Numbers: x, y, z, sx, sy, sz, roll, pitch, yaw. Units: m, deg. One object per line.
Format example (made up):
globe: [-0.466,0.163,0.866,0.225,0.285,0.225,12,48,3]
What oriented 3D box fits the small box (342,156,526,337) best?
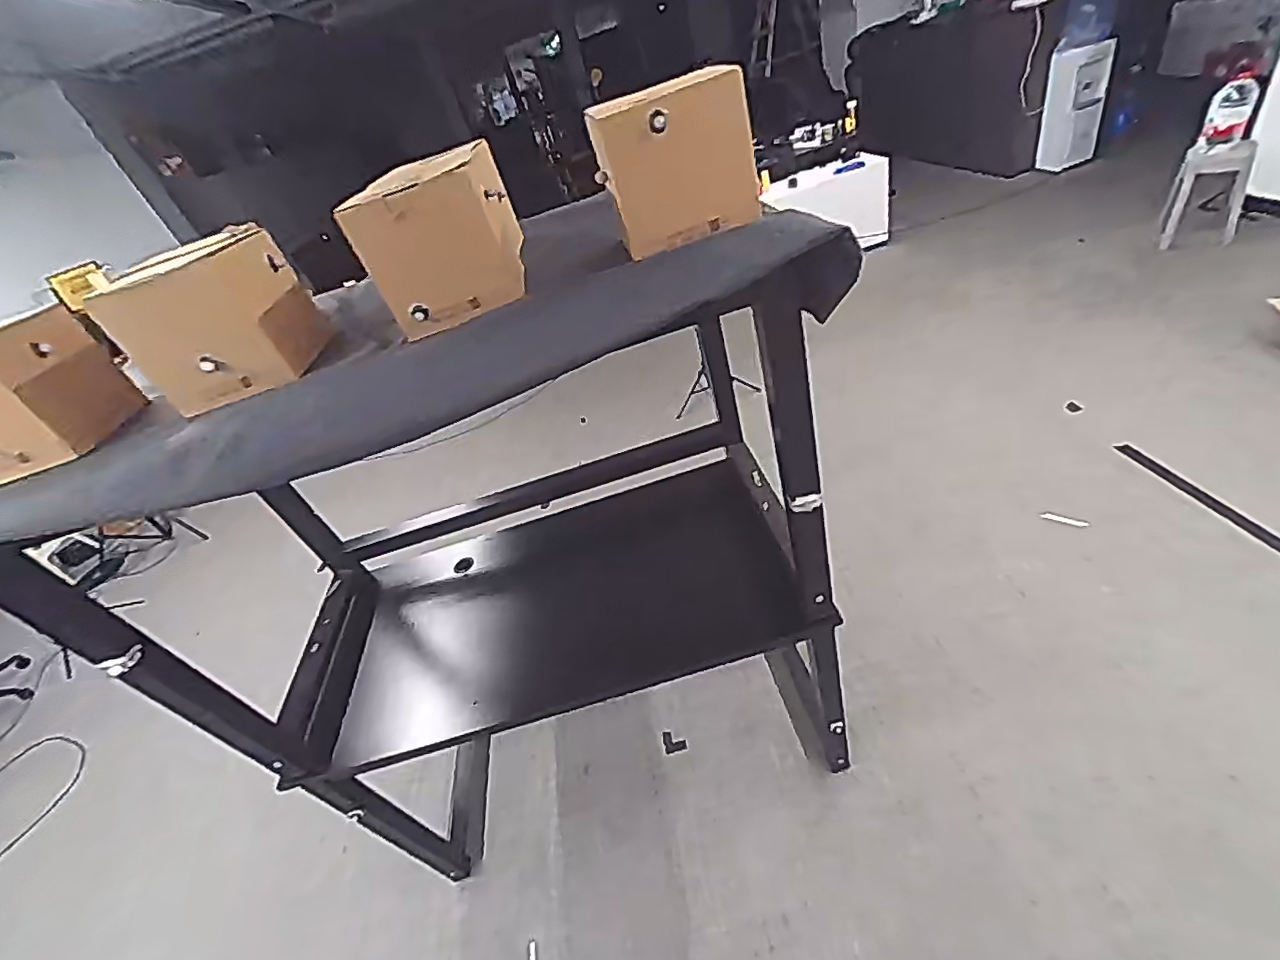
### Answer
small box: [-0.263,-0.314,0.737,0.168,0.176,0.179,-19,37,1]

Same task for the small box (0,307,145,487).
small box: [-0.852,-0.111,0.745,0.168,0.176,0.179,-19,37,0]

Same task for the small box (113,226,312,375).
small box: [-0.705,-0.305,0.921,0.179,0.176,0.168,-19,37,0]

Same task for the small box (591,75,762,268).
small box: [0.044,-0.393,0.697,0.168,0.176,0.179,-19,36,3]
